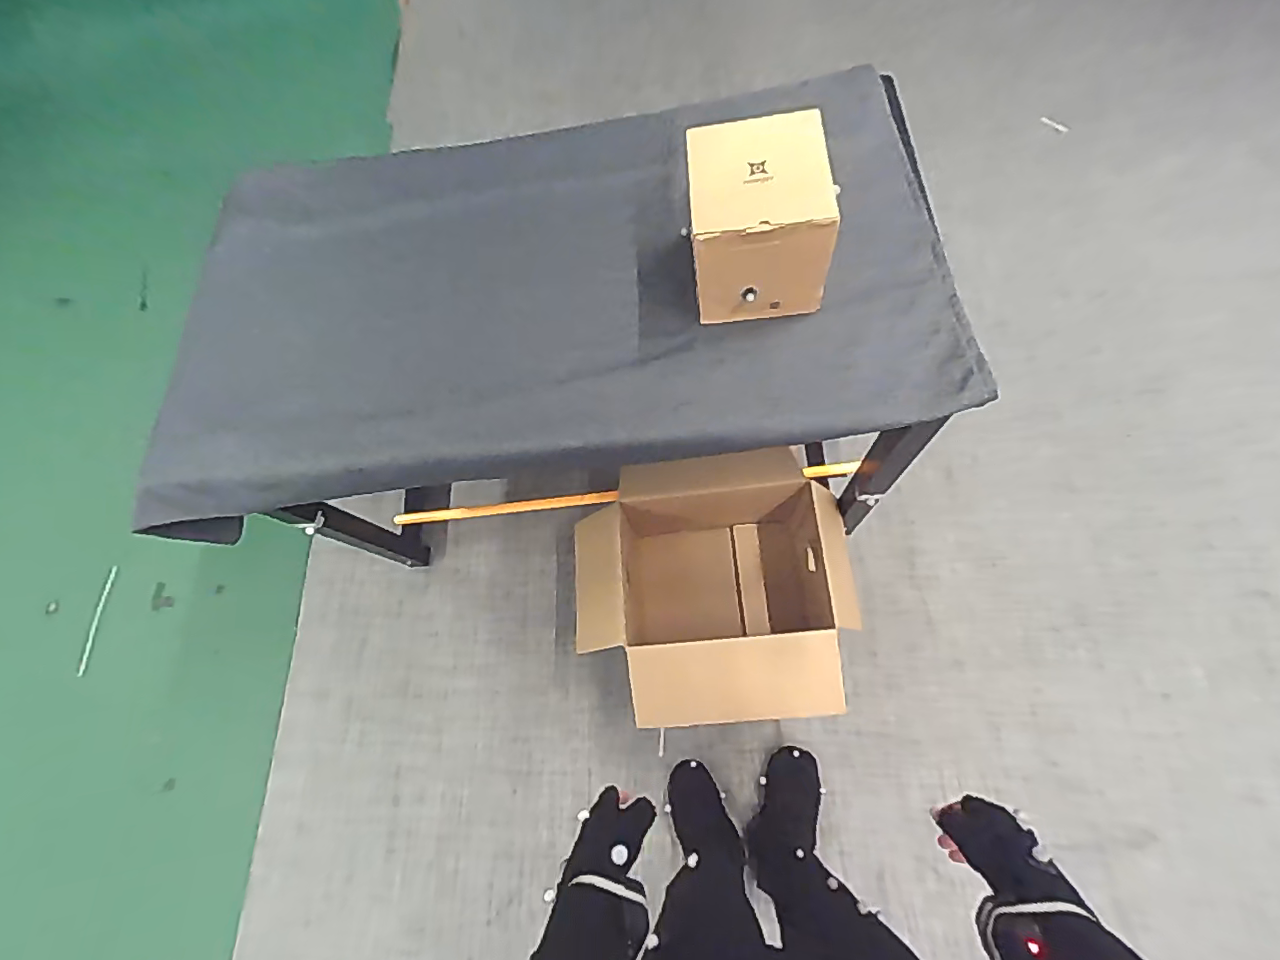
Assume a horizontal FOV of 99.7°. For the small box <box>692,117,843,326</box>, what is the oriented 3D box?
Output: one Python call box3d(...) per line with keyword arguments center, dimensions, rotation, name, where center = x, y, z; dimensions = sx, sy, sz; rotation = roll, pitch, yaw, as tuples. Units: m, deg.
box3d(center=(0.157, -0.331, 0.715), dimensions=(0.168, 0.176, 0.179), rotation=(-4, 69, 8), name="small box")
